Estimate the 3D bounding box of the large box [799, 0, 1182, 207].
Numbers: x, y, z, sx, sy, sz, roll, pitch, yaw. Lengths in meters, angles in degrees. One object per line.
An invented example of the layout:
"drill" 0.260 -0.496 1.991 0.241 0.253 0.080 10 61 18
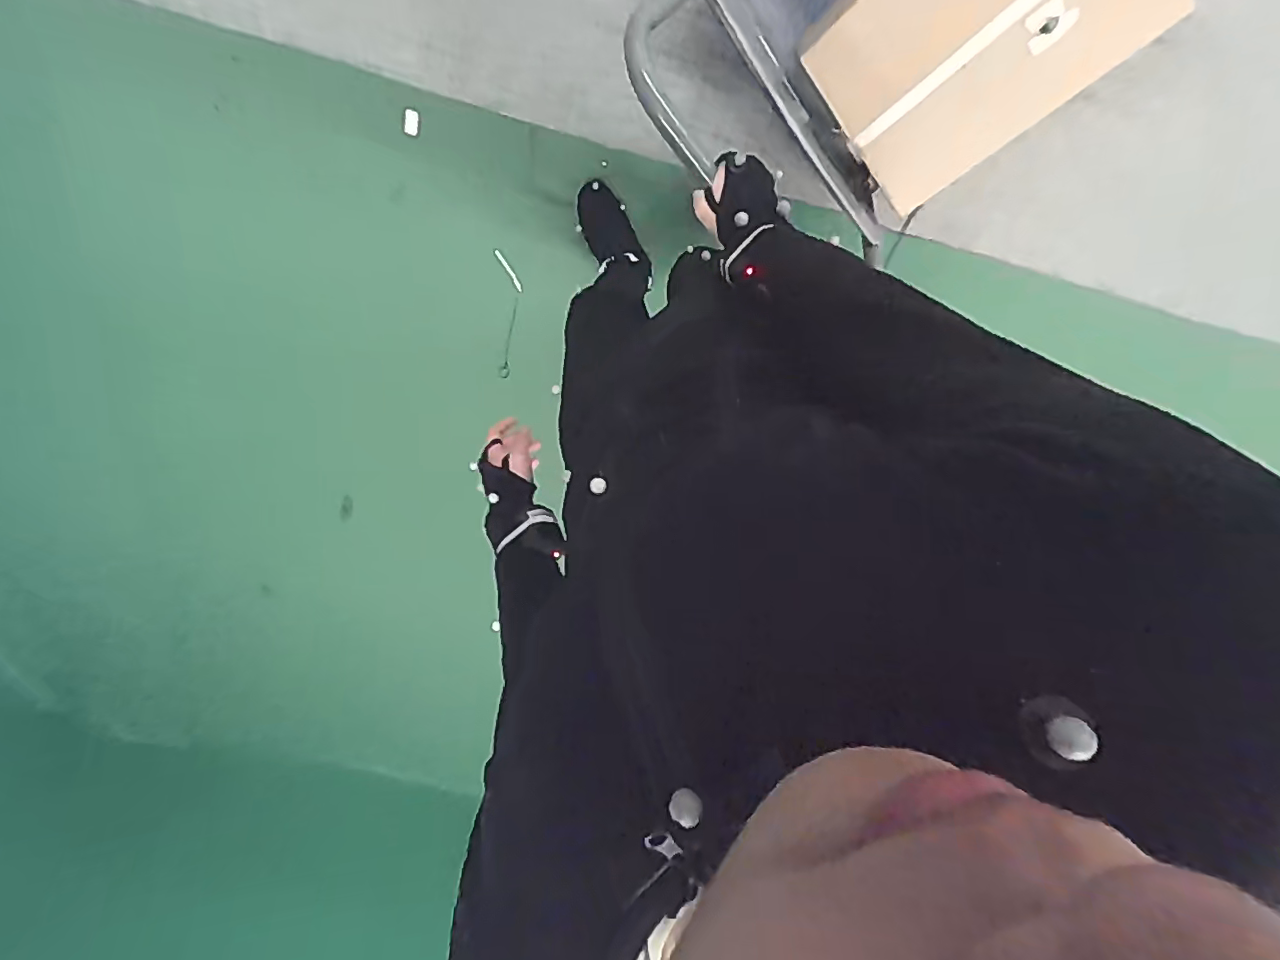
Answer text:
"large box" 0.514 -0.748 0.877 0.408 0.320 0.320 -31 119 36
